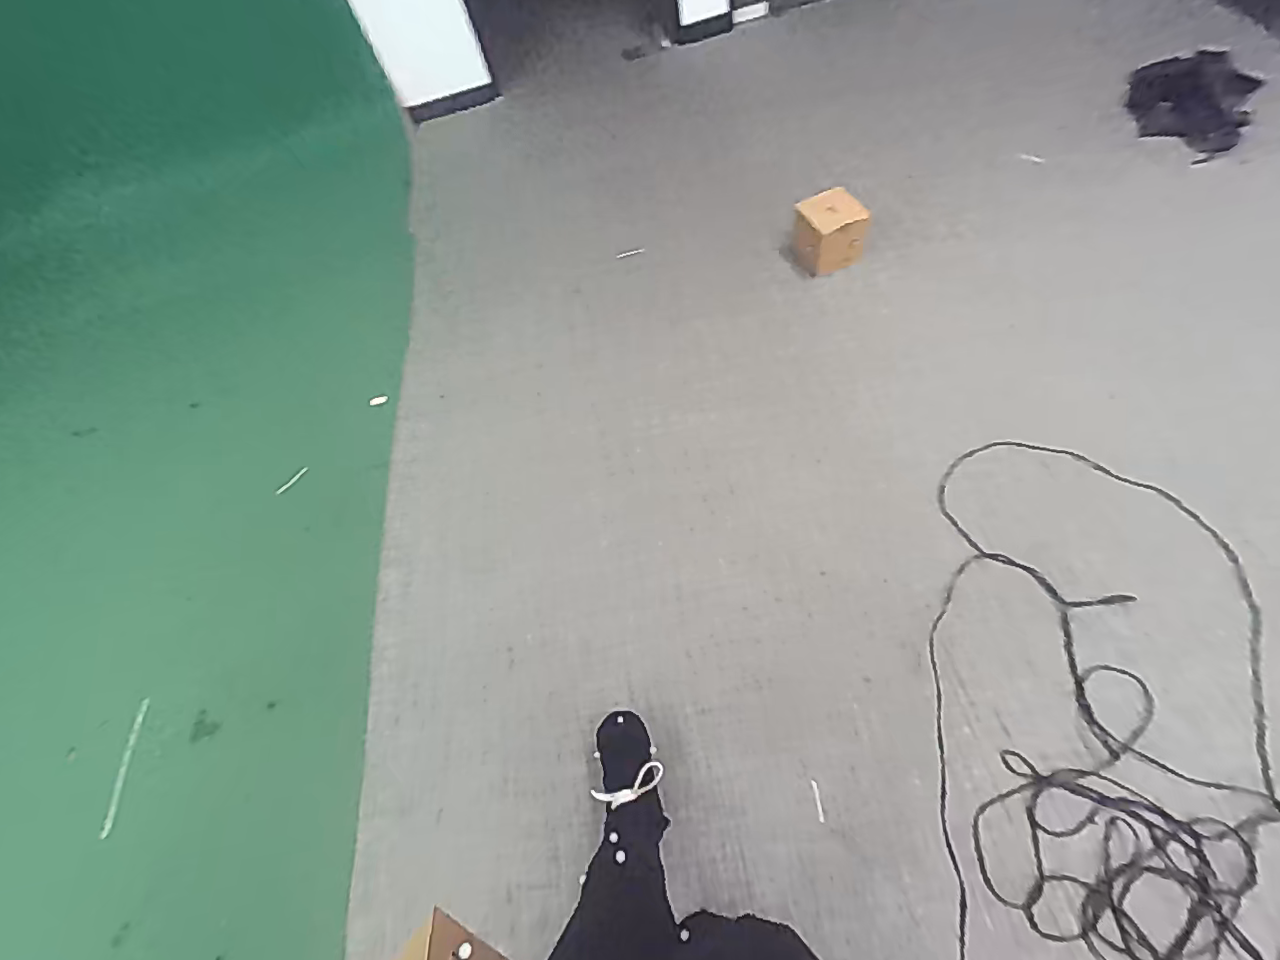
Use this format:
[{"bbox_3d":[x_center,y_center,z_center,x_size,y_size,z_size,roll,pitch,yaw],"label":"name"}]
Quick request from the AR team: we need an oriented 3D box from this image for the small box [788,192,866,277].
[{"bbox_3d":[0.598,-0.785,1.749,0.168,0.176,0.179,-23,58,-4],"label":"small box"}]

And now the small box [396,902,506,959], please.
[{"bbox_3d":[-0.217,0.620,0.581,0.176,0.179,0.168,41,66,-2],"label":"small box"}]
